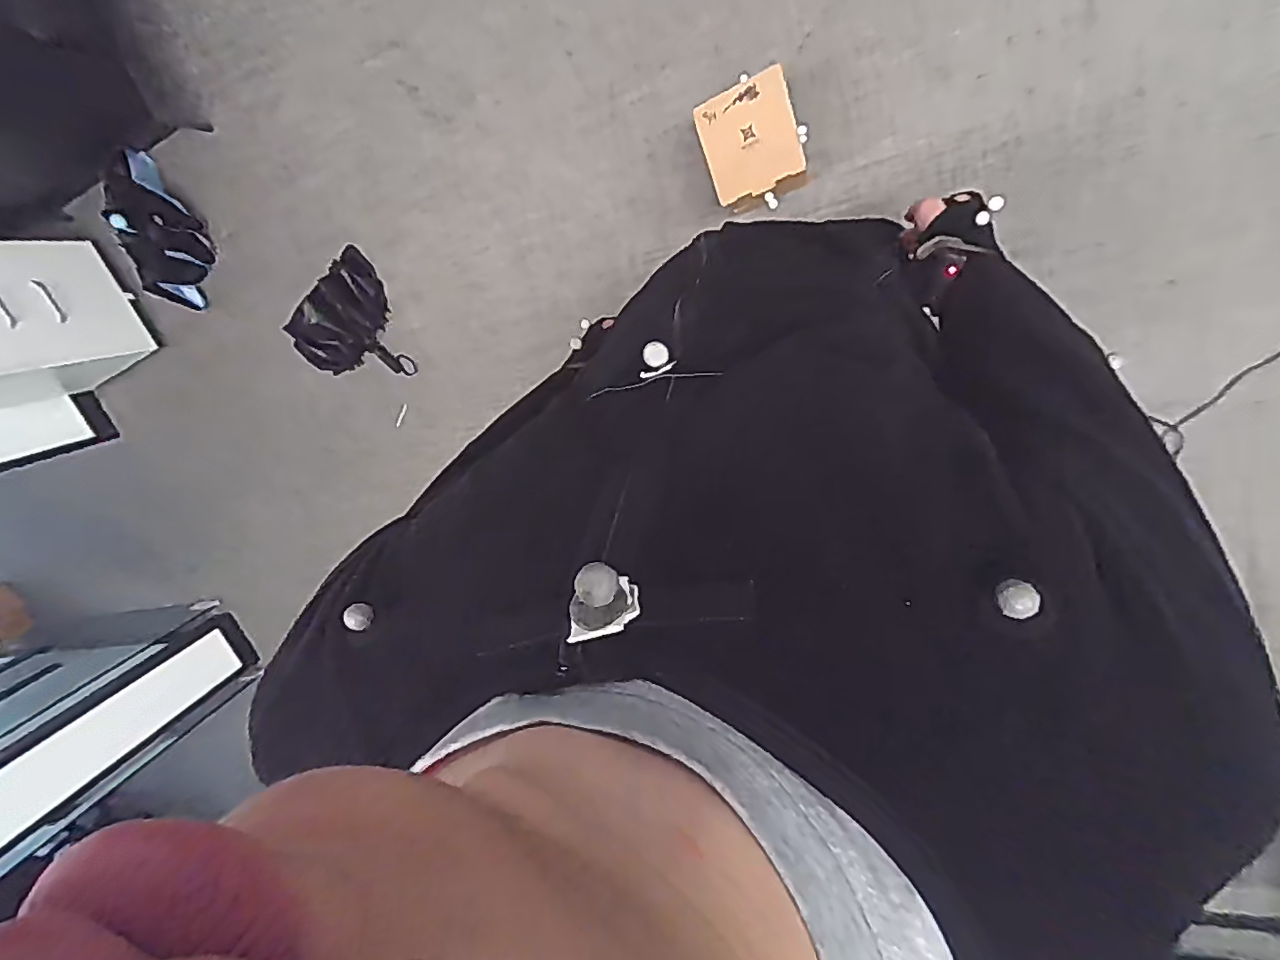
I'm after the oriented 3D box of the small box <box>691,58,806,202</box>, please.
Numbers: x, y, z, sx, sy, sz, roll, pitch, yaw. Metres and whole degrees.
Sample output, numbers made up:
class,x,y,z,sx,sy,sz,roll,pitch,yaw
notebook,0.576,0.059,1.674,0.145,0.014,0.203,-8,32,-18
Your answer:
class,x,y,z,sx,sy,sz,roll,pitch,yaw
small box,0.217,-0.658,1.041,0.168,0.176,0.179,-13,110,24

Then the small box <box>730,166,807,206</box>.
class,x,y,z,sx,sy,sz,roll,pitch,yaw
small box,0.262,-0.723,1.183,0.168,0.176,0.179,-15,109,25
